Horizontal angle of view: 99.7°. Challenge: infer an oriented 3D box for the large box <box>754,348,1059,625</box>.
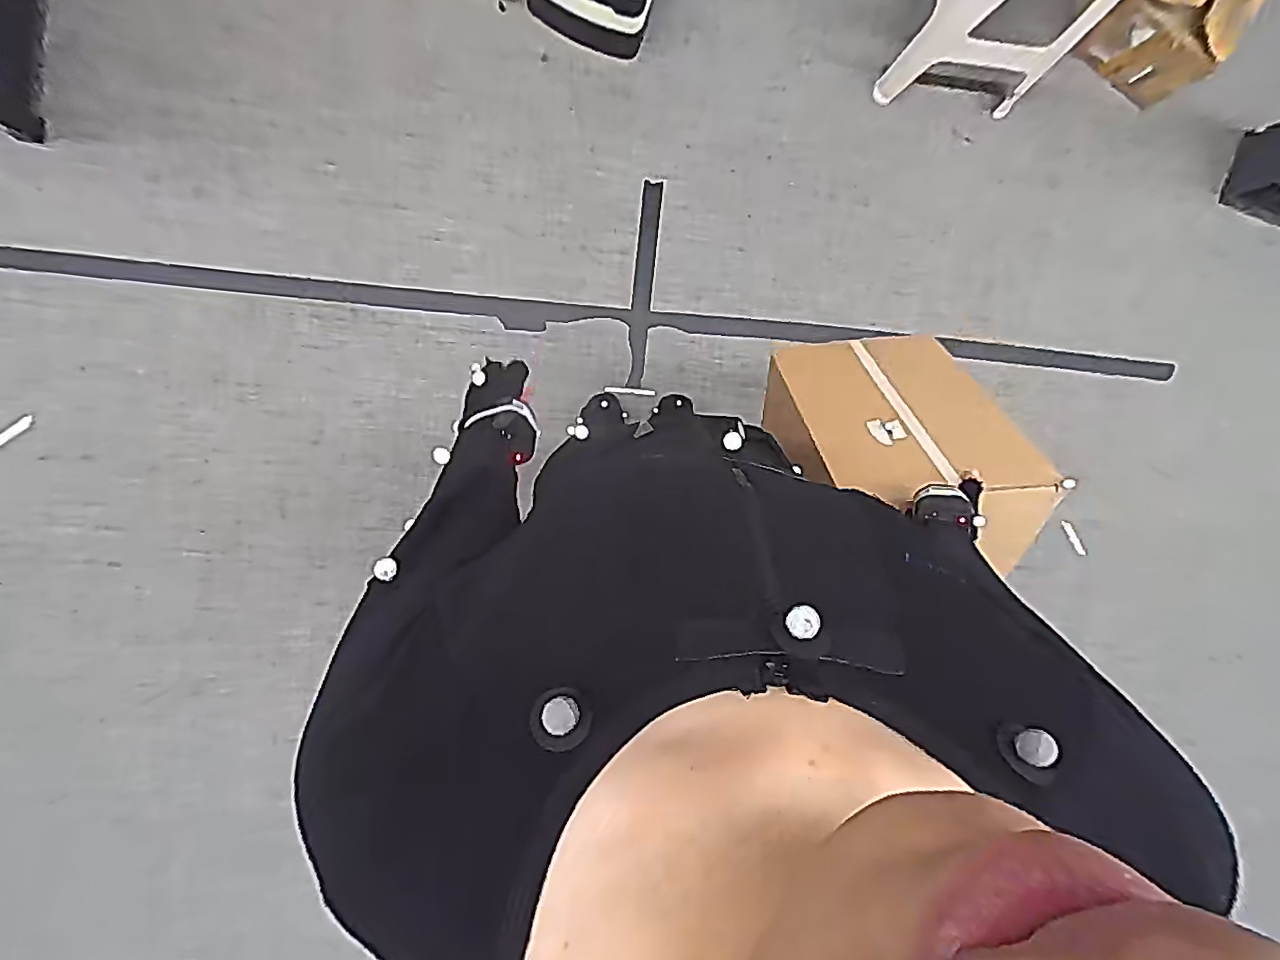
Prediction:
[{"bbox_3d":[0.424,0.002,0.996,0.320,0.408,0.320,-6,135,-2],"label":"large box"}]
